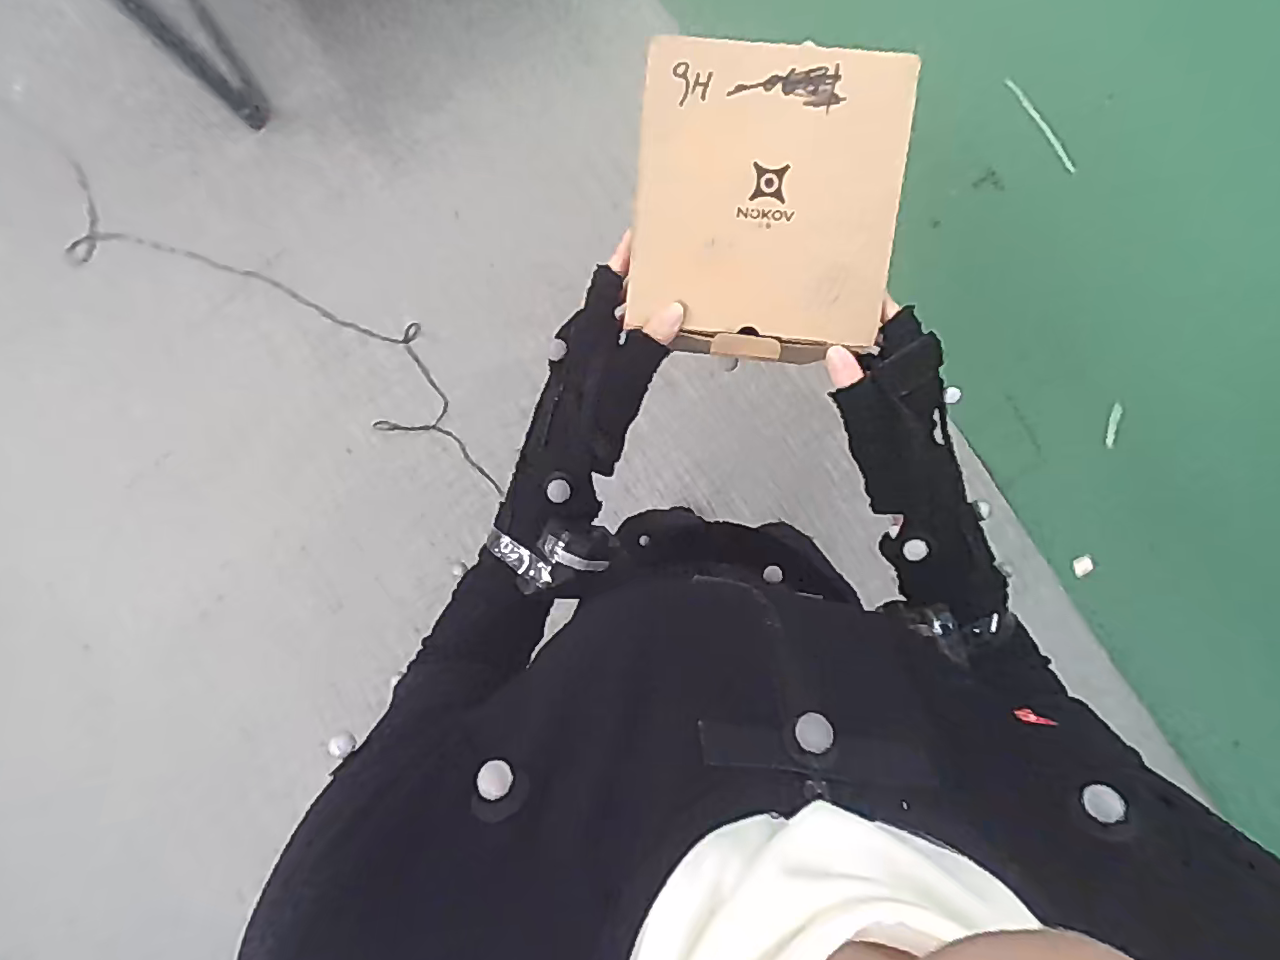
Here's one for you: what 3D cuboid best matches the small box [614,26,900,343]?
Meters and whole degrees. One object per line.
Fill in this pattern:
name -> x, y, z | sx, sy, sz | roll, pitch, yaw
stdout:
small box -> 0.076, -0.205, 0.427 | 0.168, 0.176, 0.179 | 5, 101, 2
